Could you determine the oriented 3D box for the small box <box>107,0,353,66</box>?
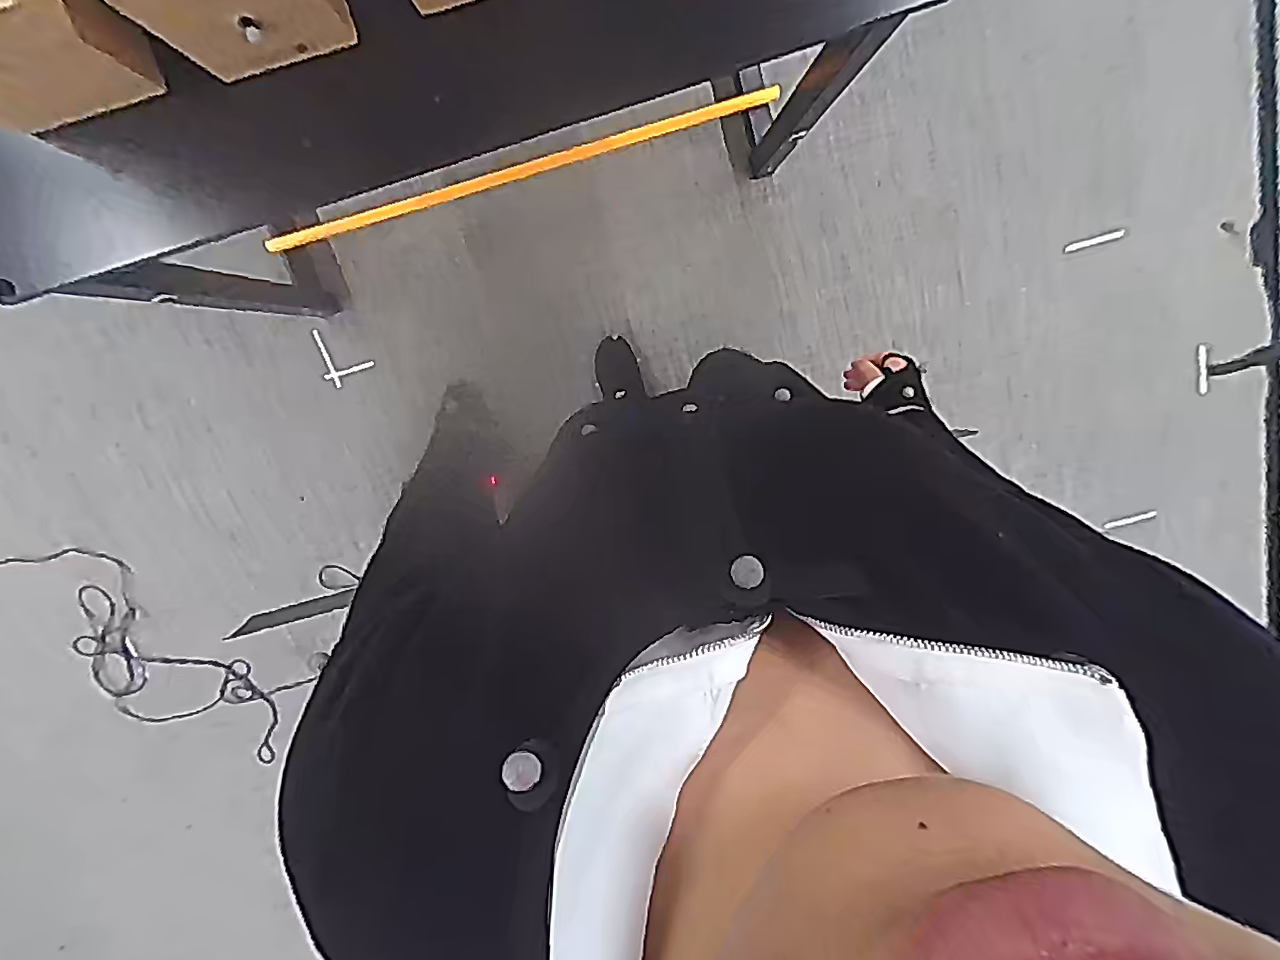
[{"bbox_3d":[-0.417,-0.543,0.523,0.168,0.176,0.179,-15,104,2],"label":"small box"}]

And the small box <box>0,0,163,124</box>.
[{"bbox_3d":[-0.642,-0.485,0.528,0.179,0.176,0.168,-16,104,1],"label":"small box"}]
